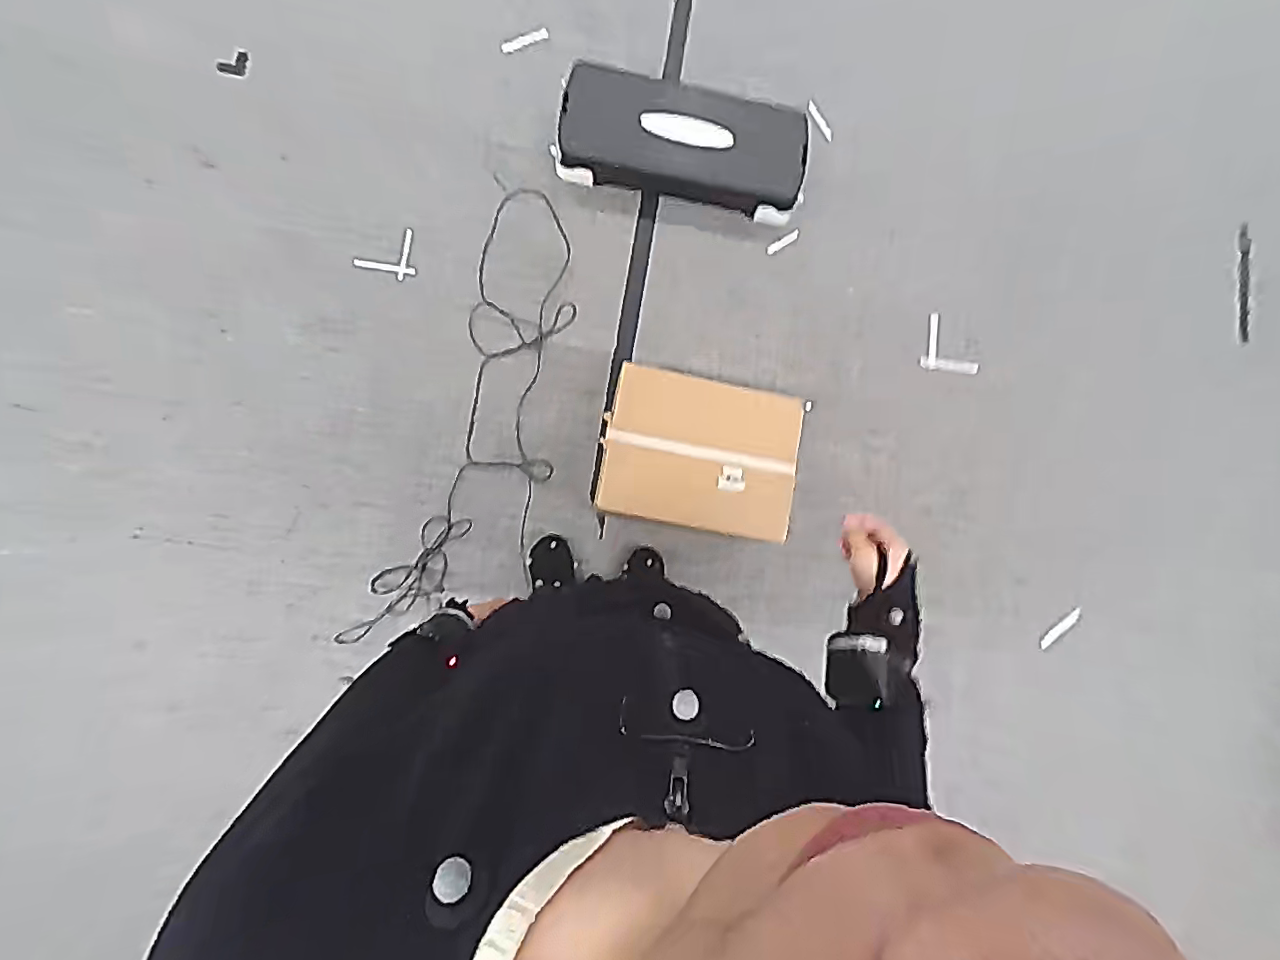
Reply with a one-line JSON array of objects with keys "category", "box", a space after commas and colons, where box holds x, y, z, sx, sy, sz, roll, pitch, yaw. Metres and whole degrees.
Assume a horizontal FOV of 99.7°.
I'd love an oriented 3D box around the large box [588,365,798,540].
[{"category": "large box", "box": [0.103, -0.042, 1.270, 0.408, 0.320, 0.320, 11, 84, -6]}]
